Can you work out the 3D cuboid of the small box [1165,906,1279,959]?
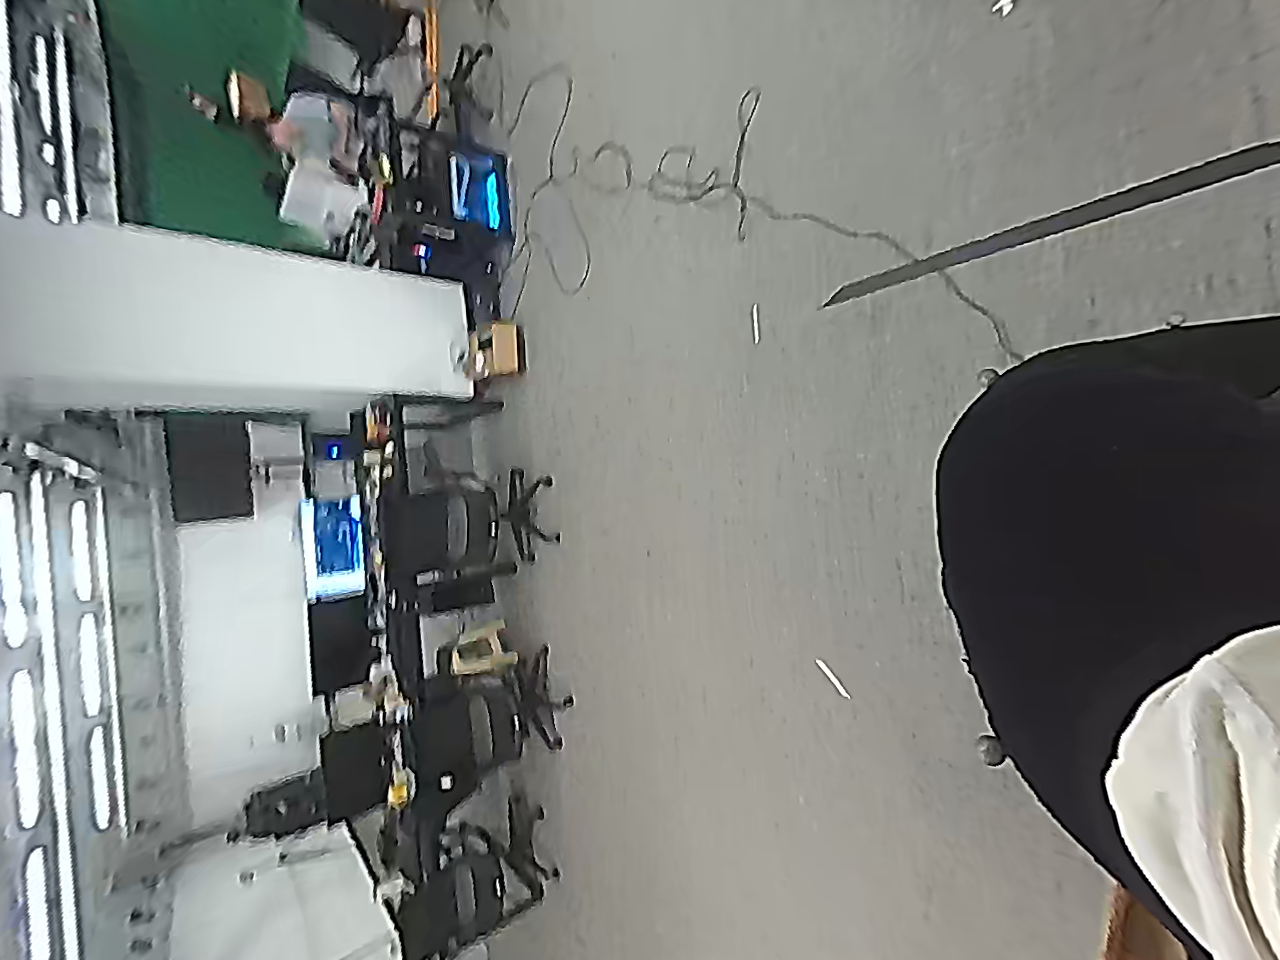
[{"bbox_3d":[0.921,0.822,0.831,0.168,0.176,0.179,6,100,50],"label":"small box"}]
